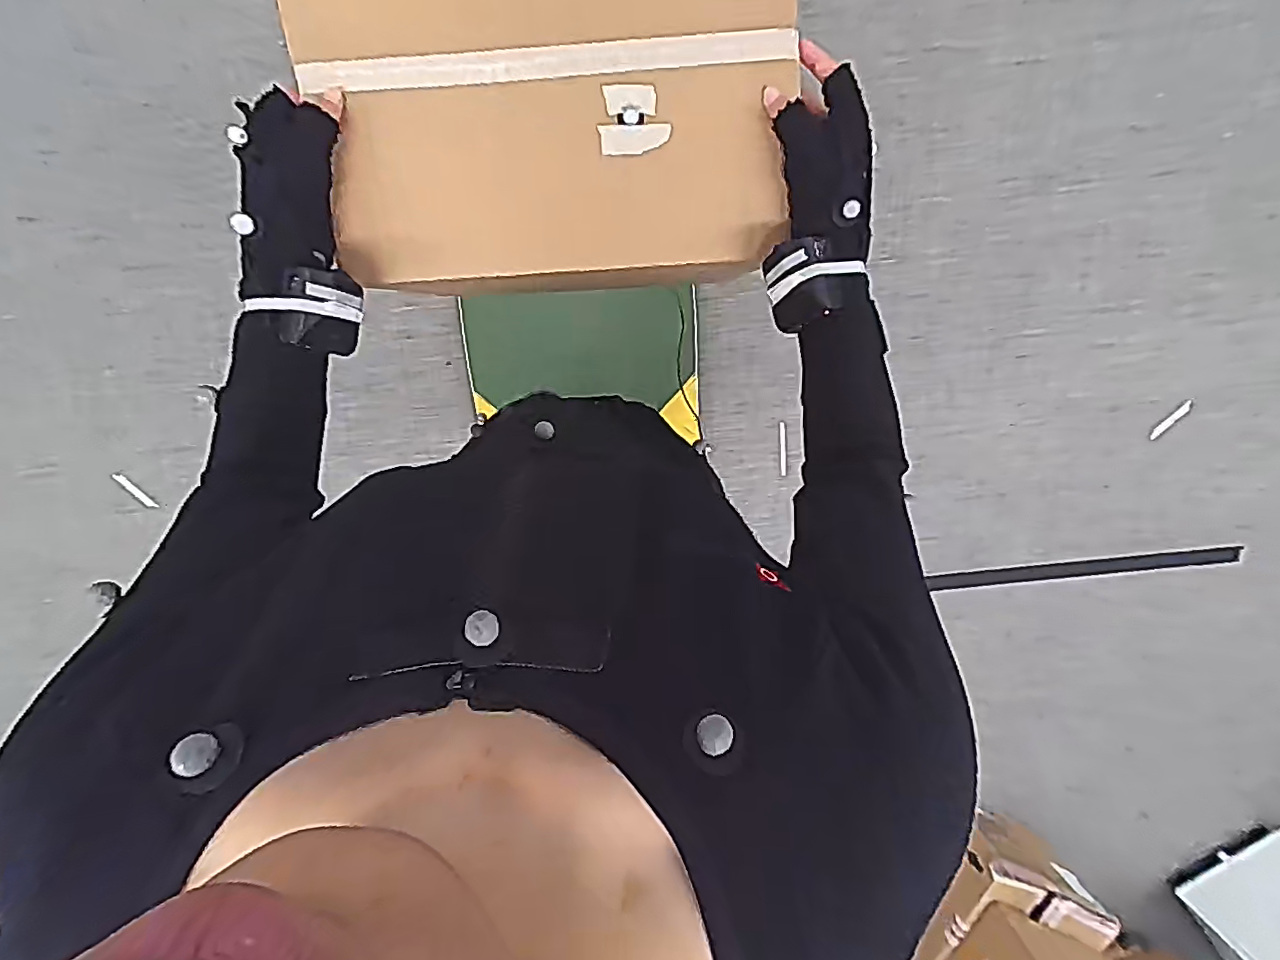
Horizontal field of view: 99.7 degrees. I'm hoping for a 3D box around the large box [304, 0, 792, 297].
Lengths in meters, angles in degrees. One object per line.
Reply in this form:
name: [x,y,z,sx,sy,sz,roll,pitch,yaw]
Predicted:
large box: [-0.076,-0.388,0.596,0.408,0.320,0.320,-4,107,0]
